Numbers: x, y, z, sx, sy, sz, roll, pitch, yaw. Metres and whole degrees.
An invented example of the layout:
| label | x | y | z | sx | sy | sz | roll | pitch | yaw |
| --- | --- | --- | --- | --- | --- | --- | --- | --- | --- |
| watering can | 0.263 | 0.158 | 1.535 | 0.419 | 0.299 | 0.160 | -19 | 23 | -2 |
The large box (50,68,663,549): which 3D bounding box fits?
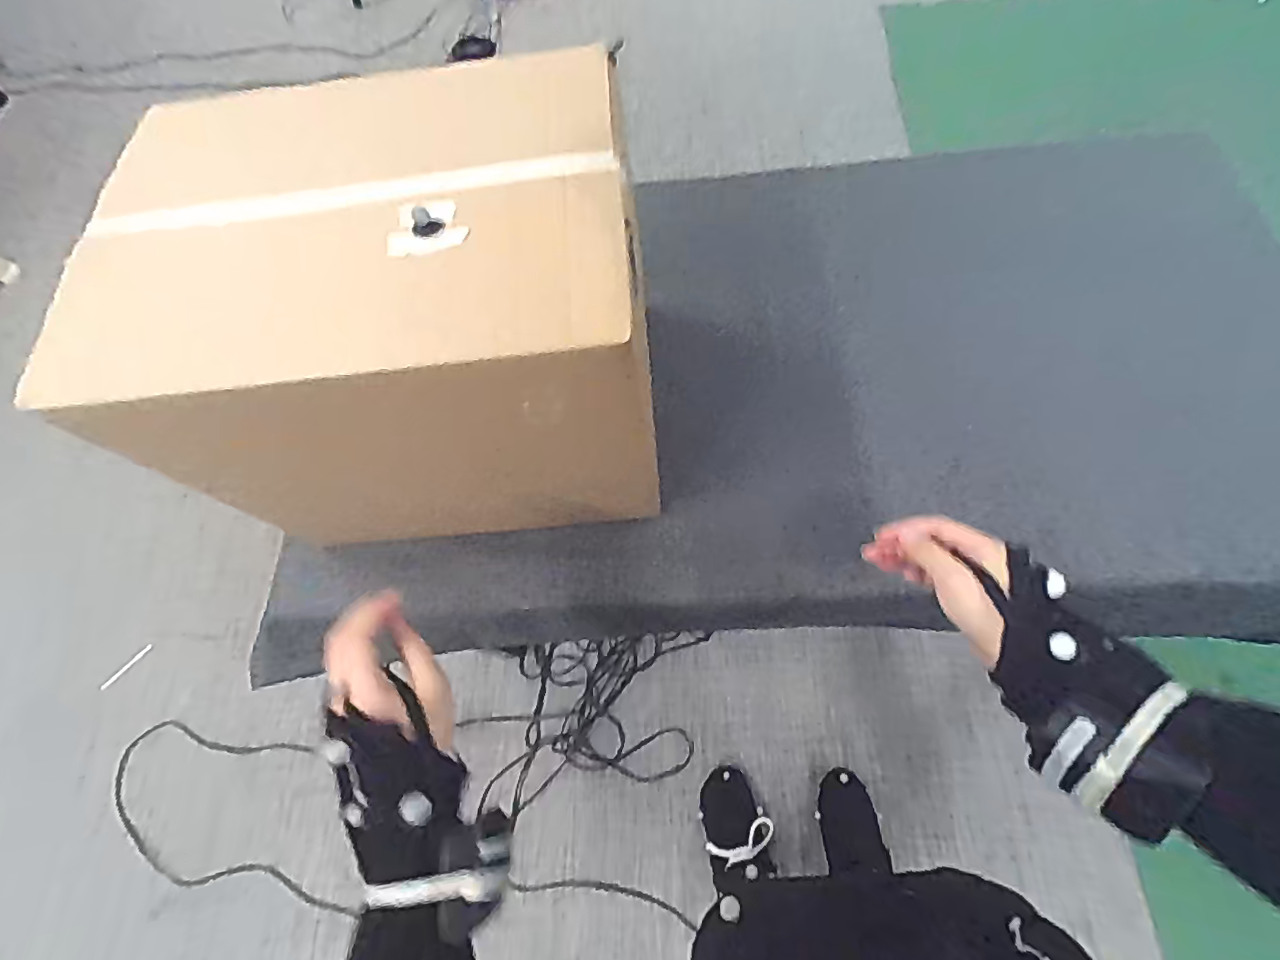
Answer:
| label | x | y | z | sx | sy | sz | roll | pitch | yaw |
| --- | --- | --- | --- | --- | --- | --- | --- | --- | --- |
| large box | -0.193 | -0.138 | 0.545 | 0.408 | 0.320 | 0.320 | -5 | 66 | 2 |
